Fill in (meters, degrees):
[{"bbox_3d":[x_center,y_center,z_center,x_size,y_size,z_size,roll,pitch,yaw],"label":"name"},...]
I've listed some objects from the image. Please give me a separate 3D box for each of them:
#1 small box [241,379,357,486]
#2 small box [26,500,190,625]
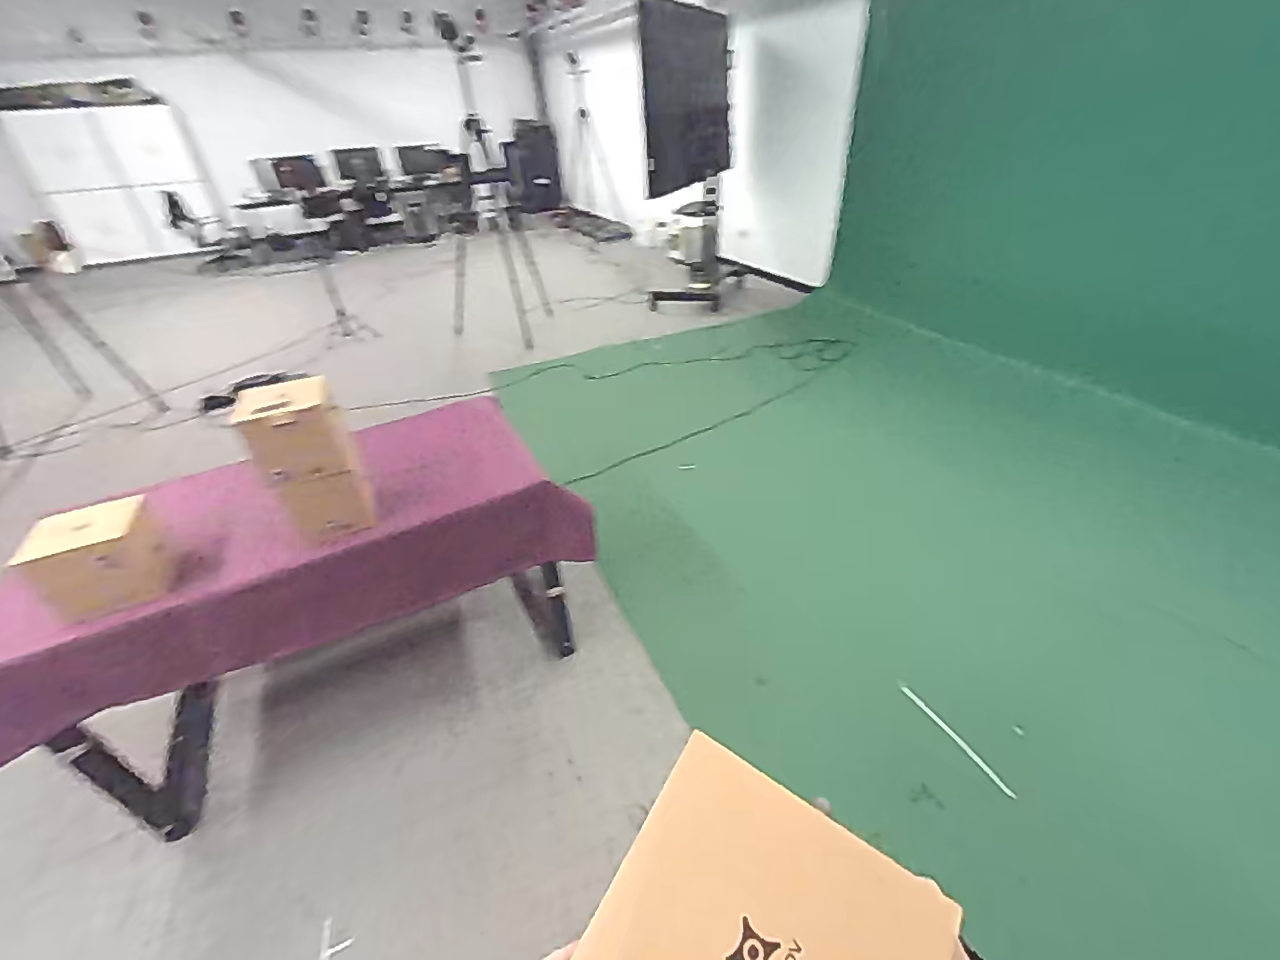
[{"bbox_3d":[-0.754,-0.102,1.216,0.168,0.176,0.179,-17,36,-17],"label":"small box"},{"bbox_3d":[-1.109,0.174,1.151,0.179,0.176,0.168,-18,36,-19],"label":"small box"}]
